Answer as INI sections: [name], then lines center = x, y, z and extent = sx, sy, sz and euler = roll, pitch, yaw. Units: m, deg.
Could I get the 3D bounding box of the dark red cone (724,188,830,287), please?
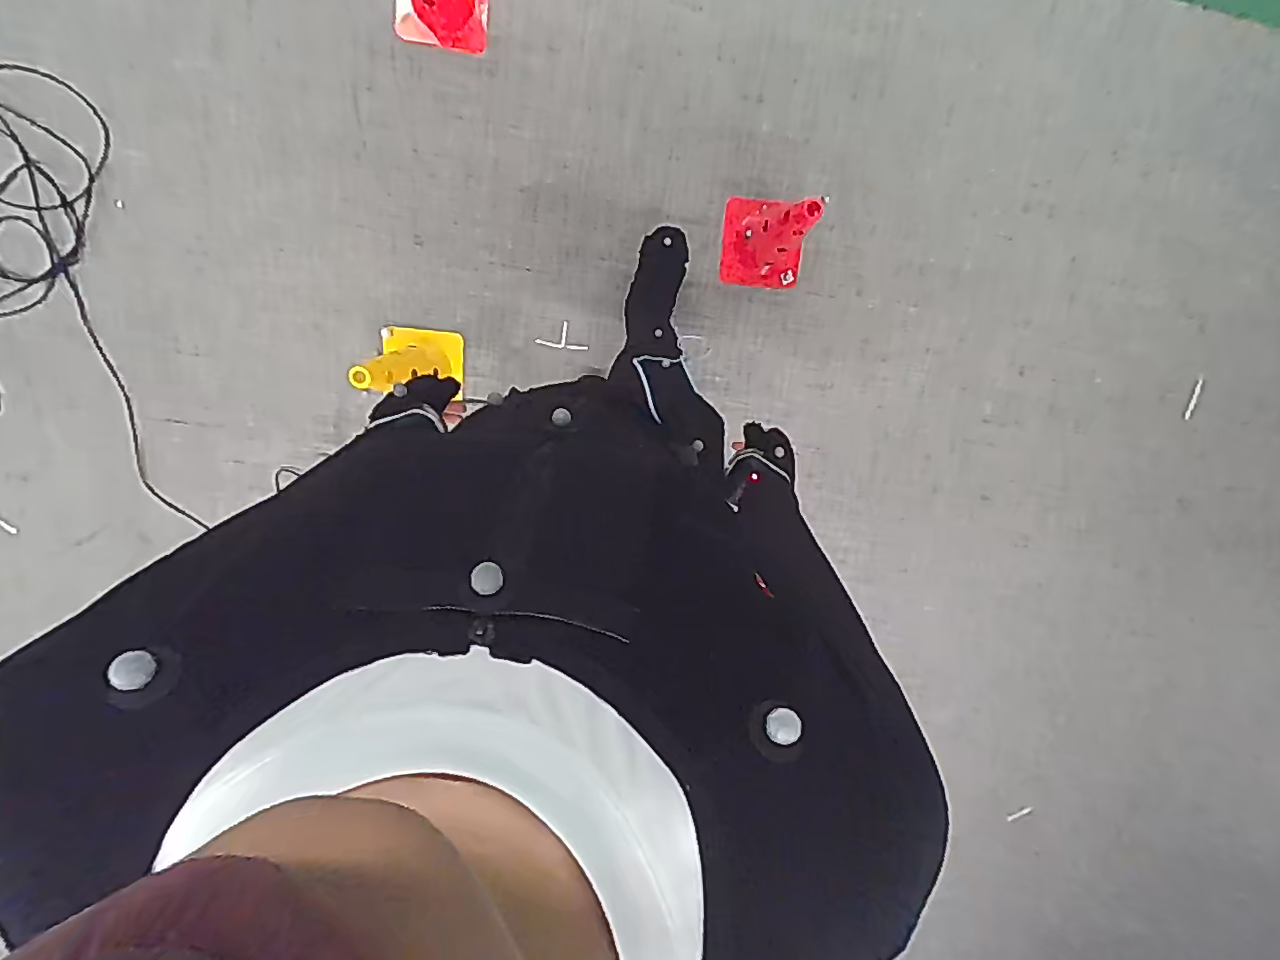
[dark red cone]
center = 0.316, -0.542, 1.153
extent = 0.202, 0.394, 0.201
euler = 2, 102, -3

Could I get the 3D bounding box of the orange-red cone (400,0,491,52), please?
[orange-red cone]
center = -0.424, -1.026, 1.026
extent = 0.198, 0.360, 0.199
euler = 8, 104, -3
